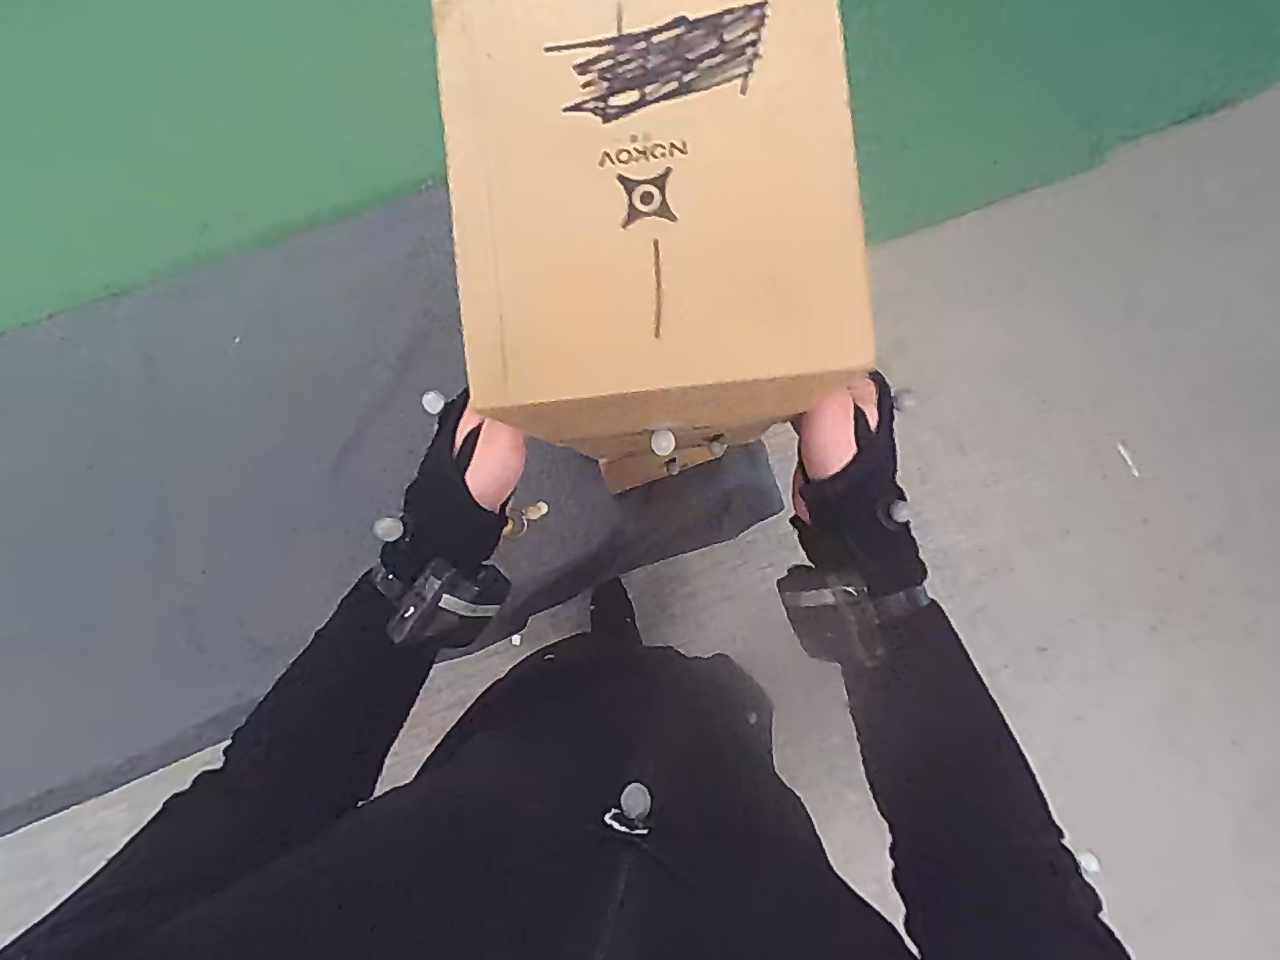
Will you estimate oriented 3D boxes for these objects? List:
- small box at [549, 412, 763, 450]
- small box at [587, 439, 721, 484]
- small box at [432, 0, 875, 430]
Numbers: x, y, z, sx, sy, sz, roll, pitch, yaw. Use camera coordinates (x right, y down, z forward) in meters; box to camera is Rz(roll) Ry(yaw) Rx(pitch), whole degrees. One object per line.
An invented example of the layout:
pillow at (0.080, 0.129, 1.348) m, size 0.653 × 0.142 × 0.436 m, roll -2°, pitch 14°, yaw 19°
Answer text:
small box at (0.015, -0.123, 0.455) m, size 0.168 × 0.176 × 0.179 m, roll -7°, pitch 85°, yaw 3°
small box at (0.003, -0.104, 0.665) m, size 0.168 × 0.176 × 0.179 m, roll -19°, pitch 78°, yaw -4°
small box at (0.006, -0.129, 0.291) m, size 0.168 × 0.176 × 0.179 m, roll -5°, pitch 88°, yaw 3°
